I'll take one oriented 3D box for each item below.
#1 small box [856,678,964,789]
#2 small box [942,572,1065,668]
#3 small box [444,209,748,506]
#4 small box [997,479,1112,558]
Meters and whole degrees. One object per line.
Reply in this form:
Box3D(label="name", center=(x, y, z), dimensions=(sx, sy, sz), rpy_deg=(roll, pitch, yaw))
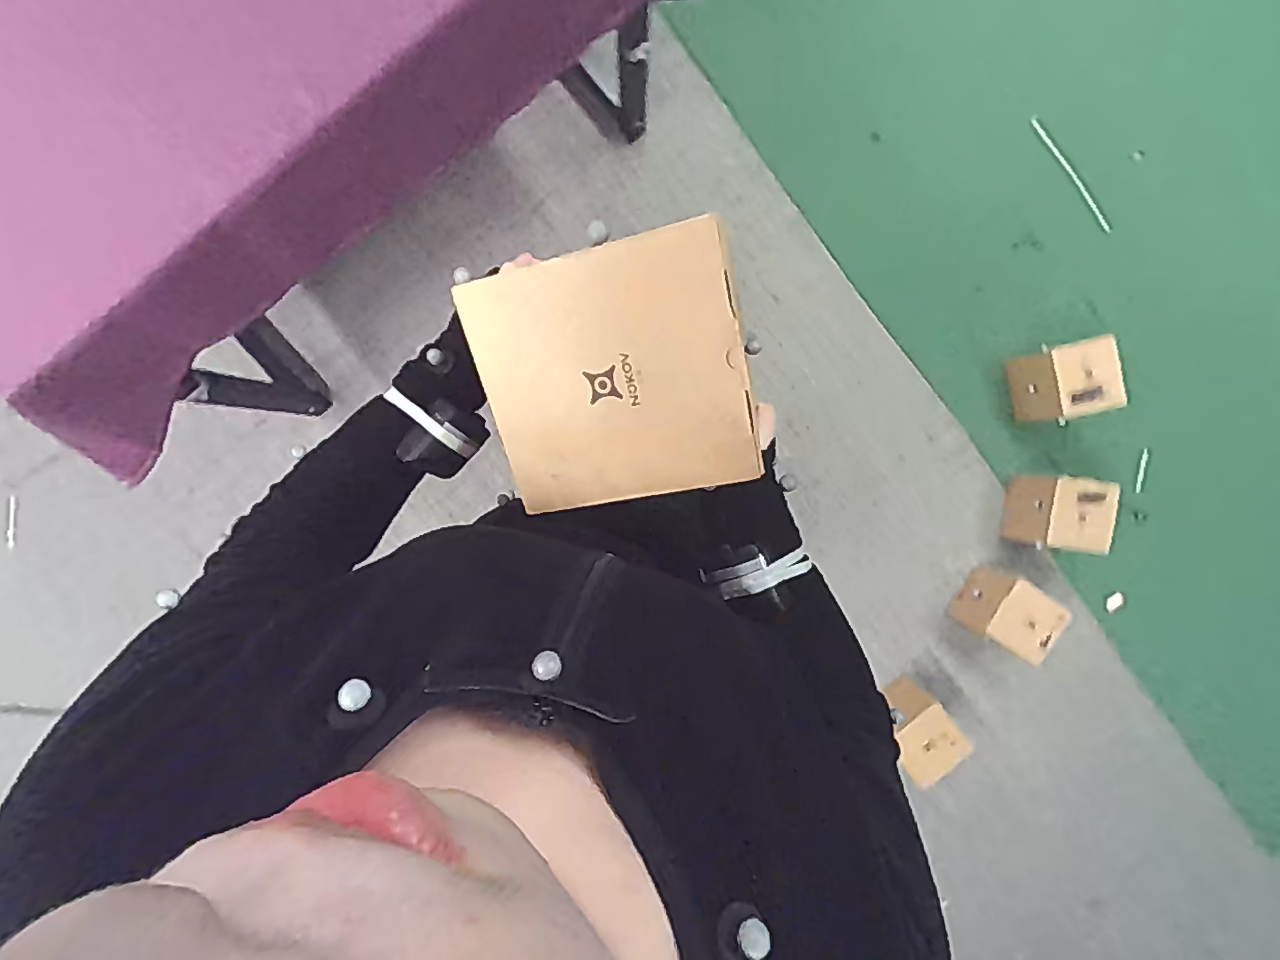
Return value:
Box3D(label="small box", center=(0.714, 0.676, 1.459), dimensions=(0.179, 0.176, 0.168), rpy_deg=(-39, 94, 1))
Box3D(label="small box", center=(0.962, 0.365, 1.450), dimensions=(0.179, 0.176, 0.168), rpy_deg=(35, 91, -3))
Box3D(label="small box", center=(-0.015, -0.098, 0.430), dimensions=(0.179, 0.176, 0.168), rpy_deg=(-11, 110, 13))
Box3D(label="small box", center=(1.094, 0.096, 1.440), dimensions=(0.168, 0.176, 0.179), rpy_deg=(9, 94, -2))
